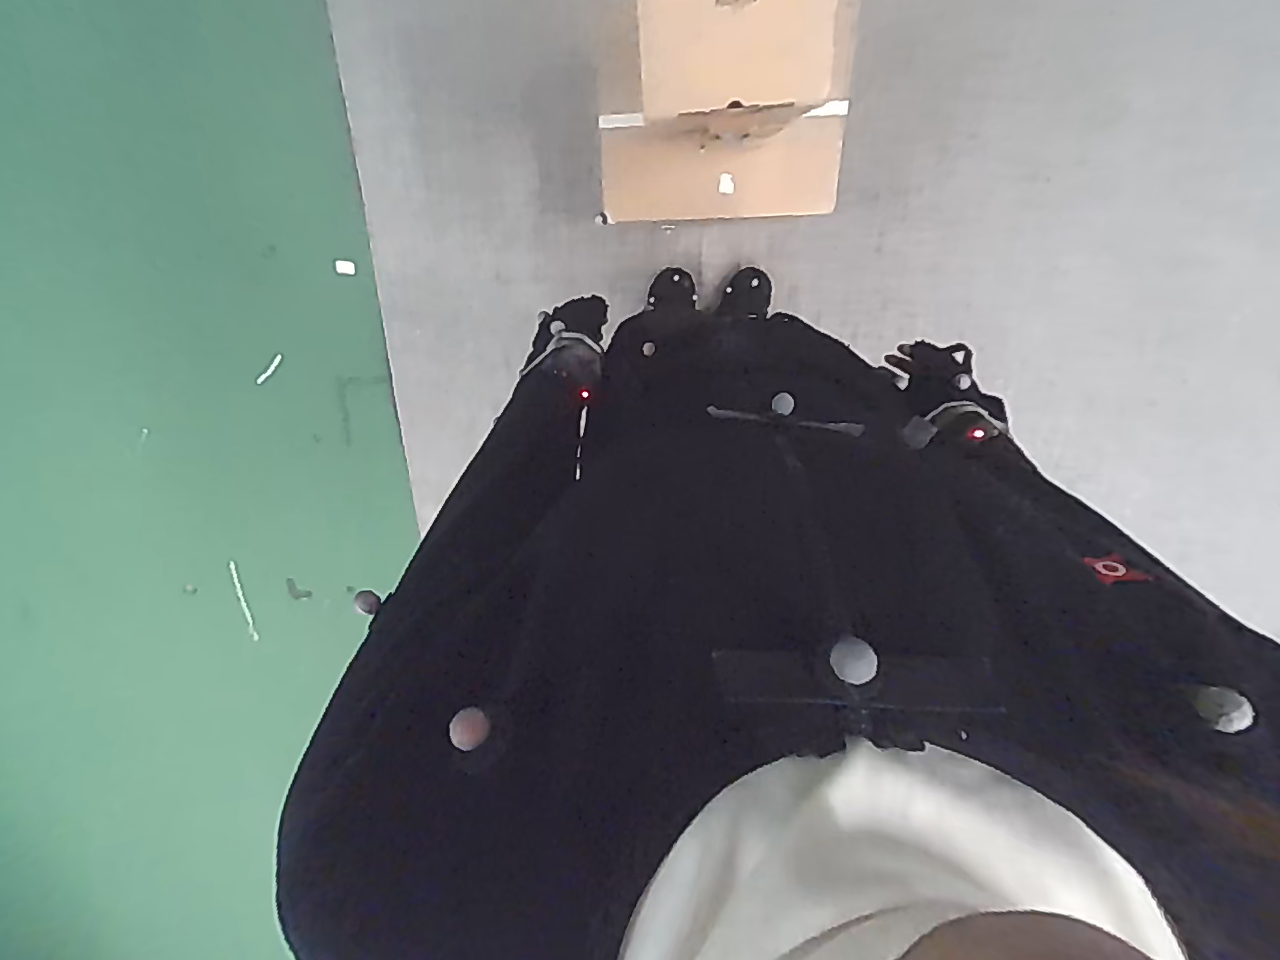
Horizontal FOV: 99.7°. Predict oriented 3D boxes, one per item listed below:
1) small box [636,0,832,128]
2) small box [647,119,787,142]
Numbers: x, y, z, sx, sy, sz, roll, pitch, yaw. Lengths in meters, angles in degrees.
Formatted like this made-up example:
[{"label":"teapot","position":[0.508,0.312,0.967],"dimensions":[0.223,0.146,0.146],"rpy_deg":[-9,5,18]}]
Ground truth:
[{"label":"small box","position":[0.083,-0.446,0.516],"dimensions":[0.168,0.176,0.179],"rpy_deg":[-2,119,5]},{"label":"small box","position":[0.093,-0.521,0.662],"dimensions":[0.168,0.176,0.179],"rpy_deg":[0,117,4]}]
